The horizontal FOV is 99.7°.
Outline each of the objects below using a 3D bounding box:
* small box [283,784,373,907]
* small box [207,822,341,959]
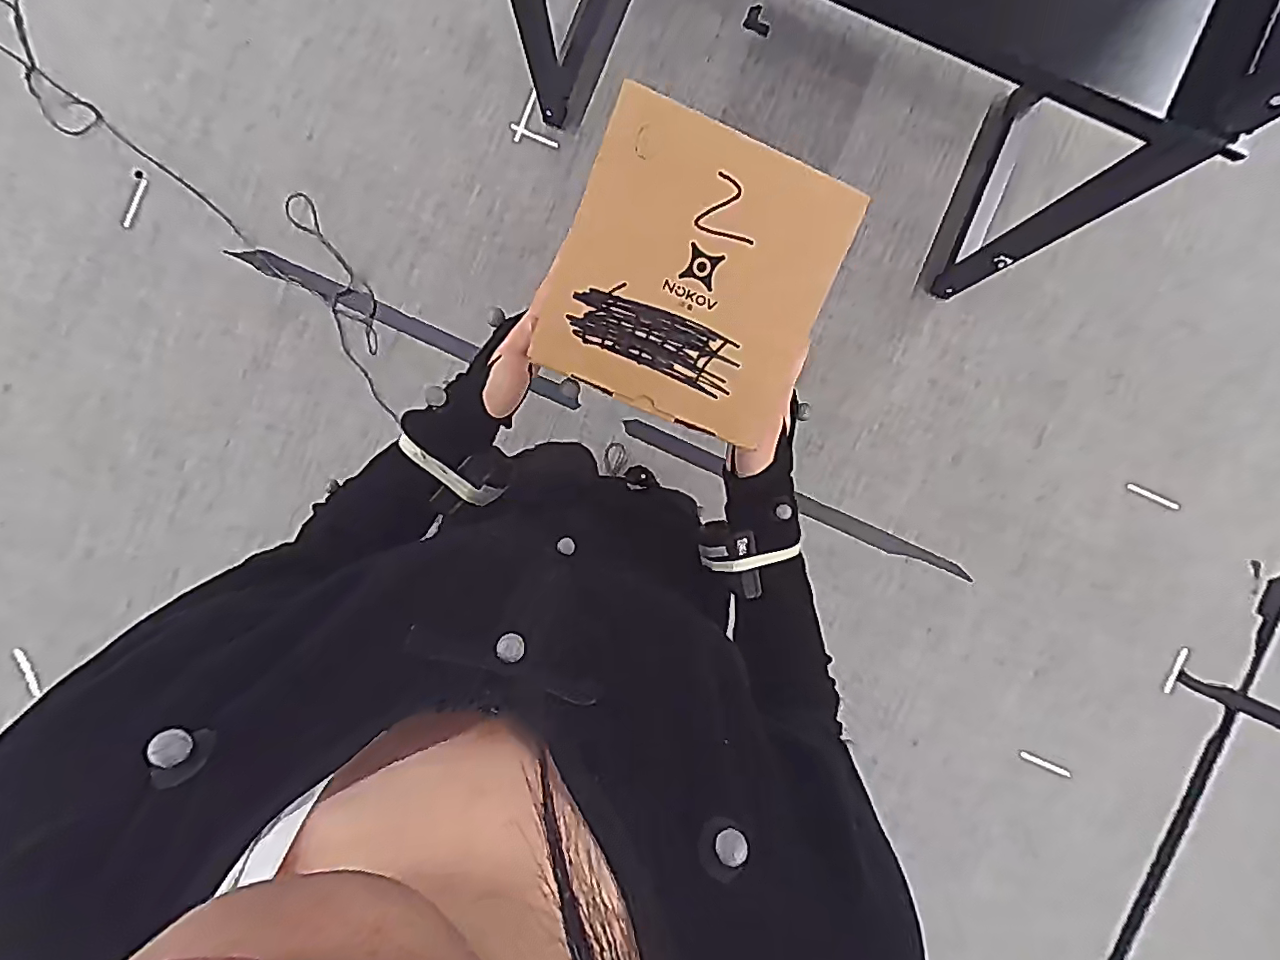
[{"bbox_3d":[-0.839,0.952,1.421,0.168,0.176,0.179,23,91,-2],"label":"small box"},{"bbox_3d":[-0.838,0.955,1.258,0.168,0.176,0.179,26,90,-1],"label":"small box"}]
